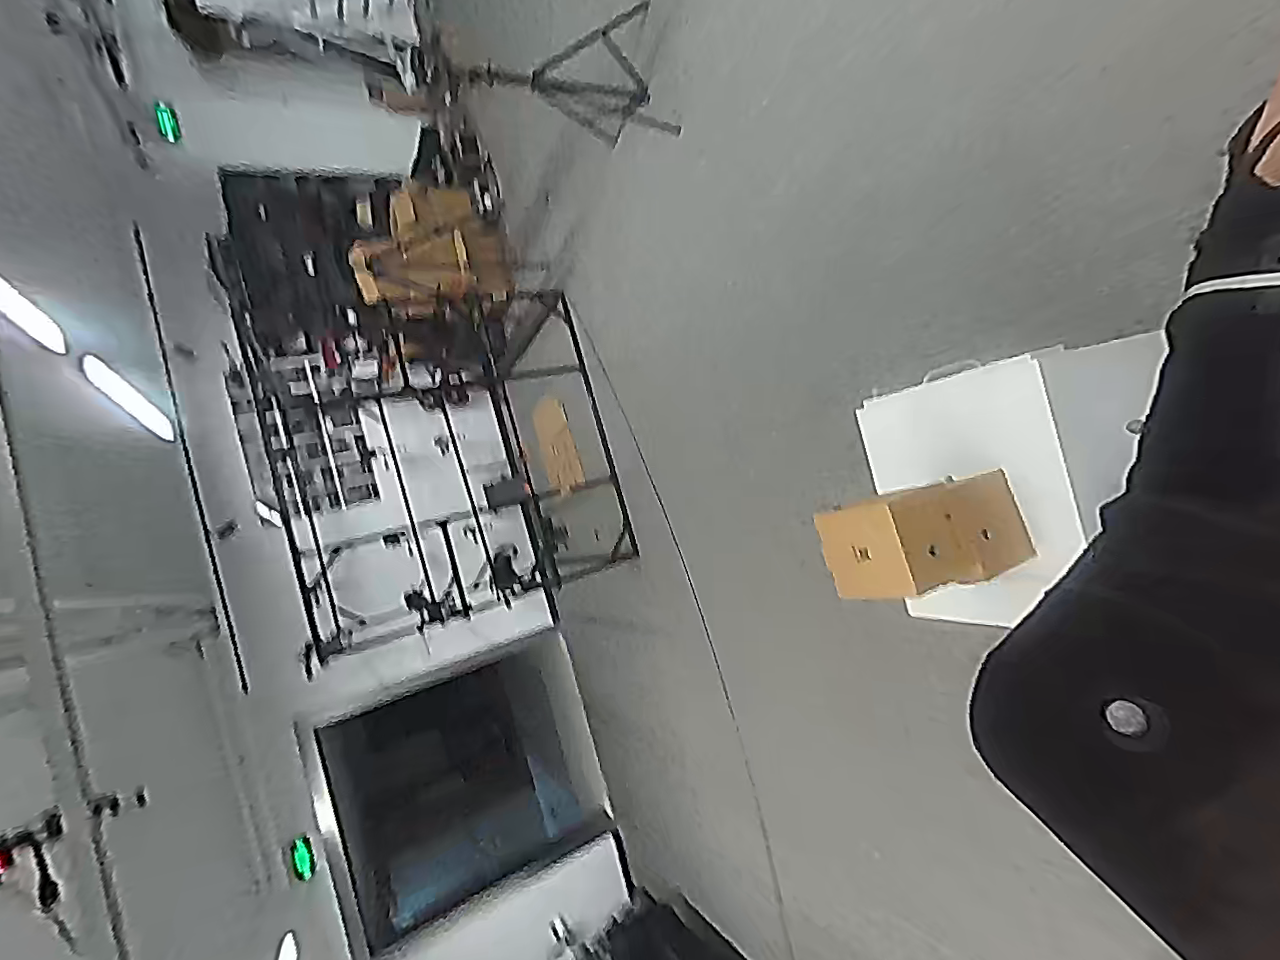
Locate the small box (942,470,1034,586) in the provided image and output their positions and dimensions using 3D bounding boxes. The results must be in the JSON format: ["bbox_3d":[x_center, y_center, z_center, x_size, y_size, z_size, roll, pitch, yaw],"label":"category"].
[{"bbox_3d":[0.616,0.096,1.050,0.168,0.176,0.179,-32,74,61],"label":"small box"}]

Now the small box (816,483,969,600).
[{"bbox_3d":[0.464,0.113,0.989,0.179,0.176,0.168,-26,80,62],"label":"small box"}]
